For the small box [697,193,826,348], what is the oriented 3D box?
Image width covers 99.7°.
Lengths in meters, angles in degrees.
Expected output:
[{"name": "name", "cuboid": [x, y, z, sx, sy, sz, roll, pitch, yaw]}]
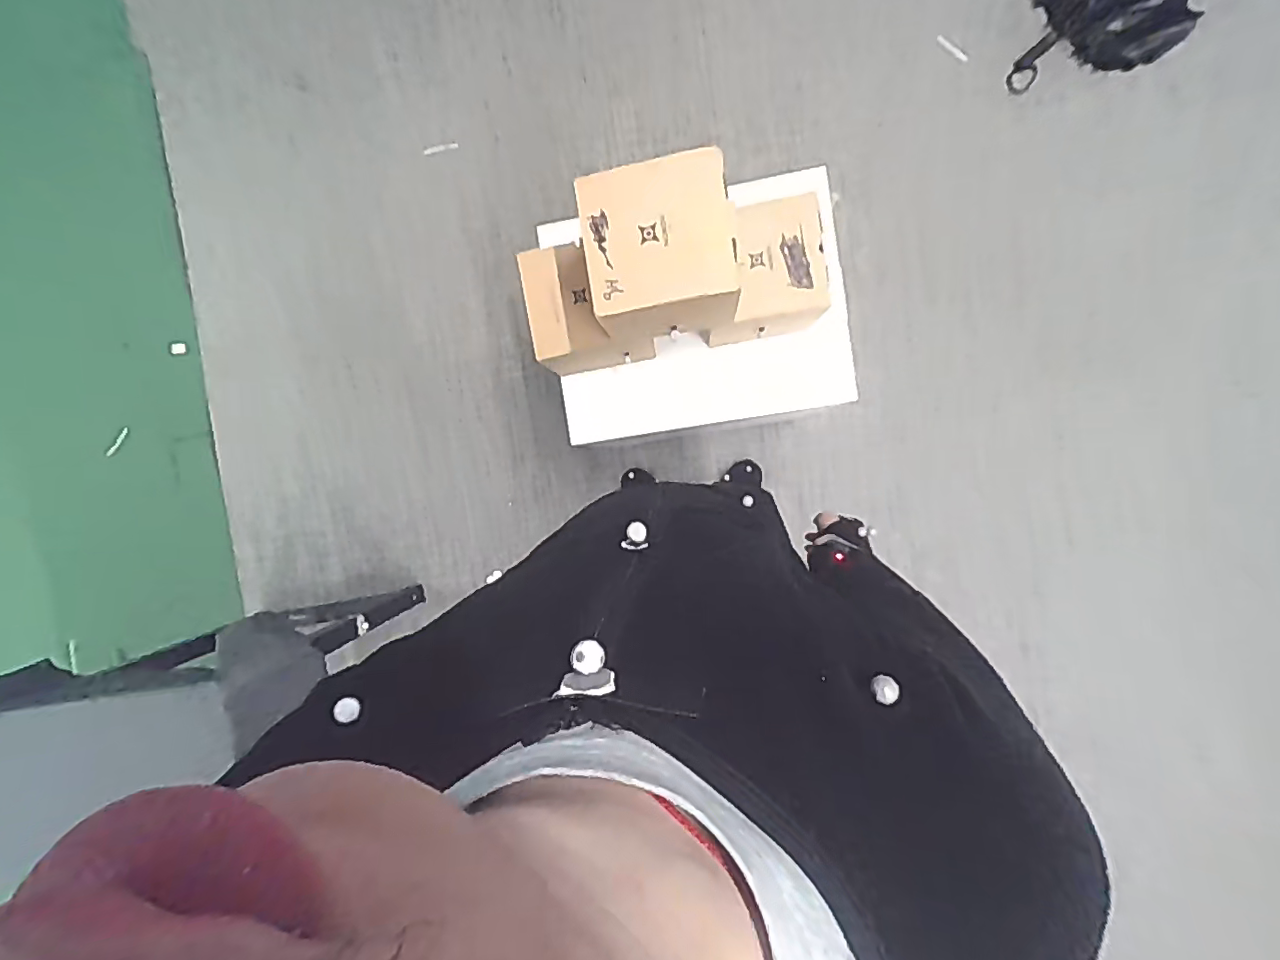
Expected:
[{"name": "small box", "cuboid": [0.173, -0.313, 0.843, 0.179, 0.176, 0.168, -9, 92, 6]}]

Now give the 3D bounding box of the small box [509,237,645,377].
[{"name": "small box", "cuboid": [-0.089, -0.271, 0.866, 0.179, 0.176, 0.168, -11, 91, 5]}]

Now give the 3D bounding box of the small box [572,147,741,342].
[{"name": "small box", "cuboid": [0.023, -0.285, 0.693, 0.179, 0.176, 0.168, -8, 92, 5]}]
